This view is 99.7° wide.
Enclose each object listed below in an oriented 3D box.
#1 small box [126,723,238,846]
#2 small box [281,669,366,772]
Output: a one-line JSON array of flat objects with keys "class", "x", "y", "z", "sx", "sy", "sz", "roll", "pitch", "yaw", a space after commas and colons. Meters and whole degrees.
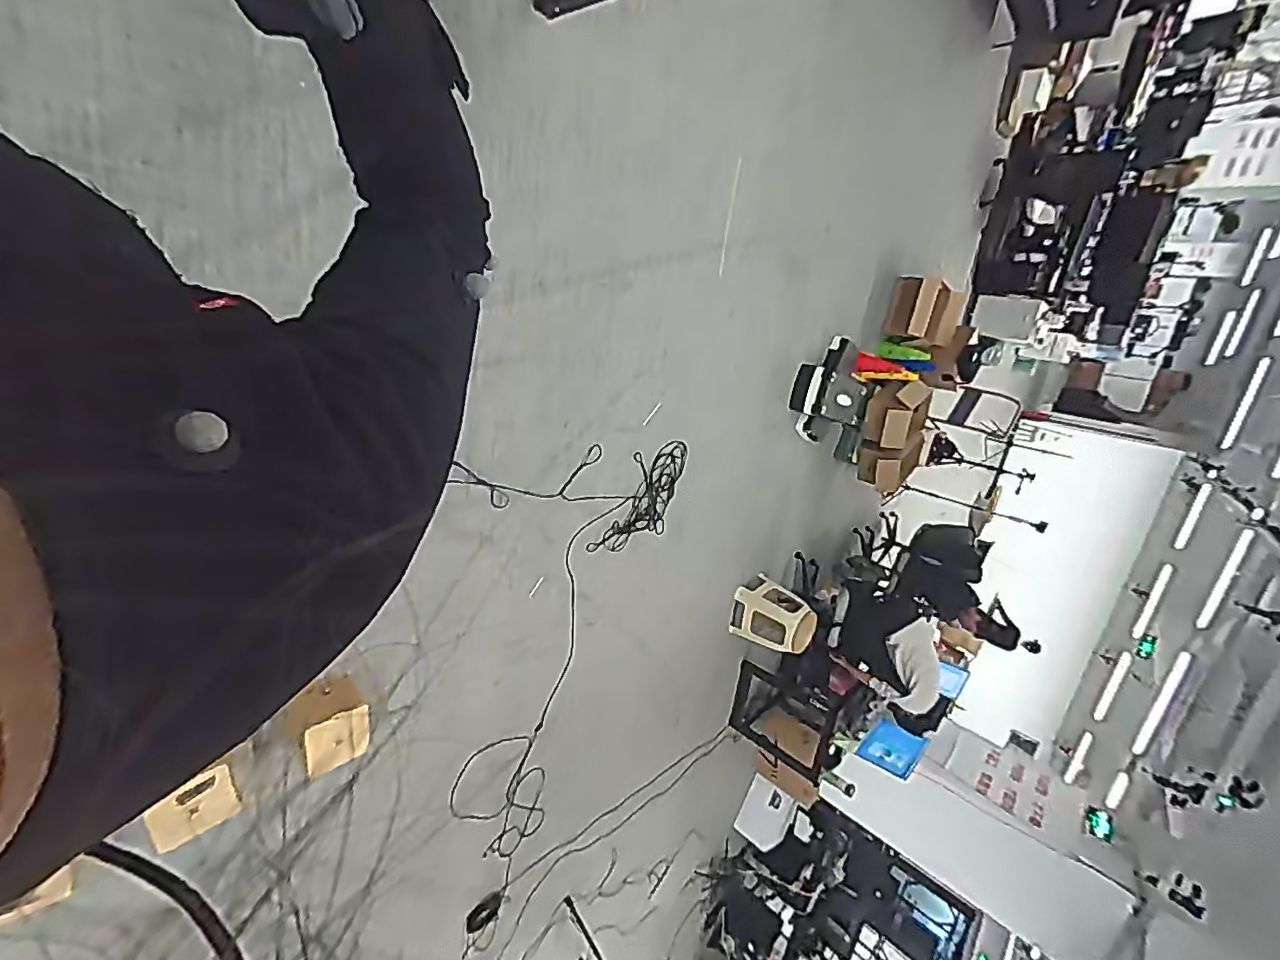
[{"class": "small box", "x": -1.128, "y": 0.735, "z": 1.332, "sx": 0.168, "sy": 0.176, "sz": 0.179, "roll": -19, "pitch": 122, "yaw": -44}, {"class": "small box", "x": -0.916, "y": 0.687, "z": 1.564, "sx": 0.168, "sy": 0.176, "sz": 0.179, "roll": -15, "pitch": 118, "yaw": -46}]
